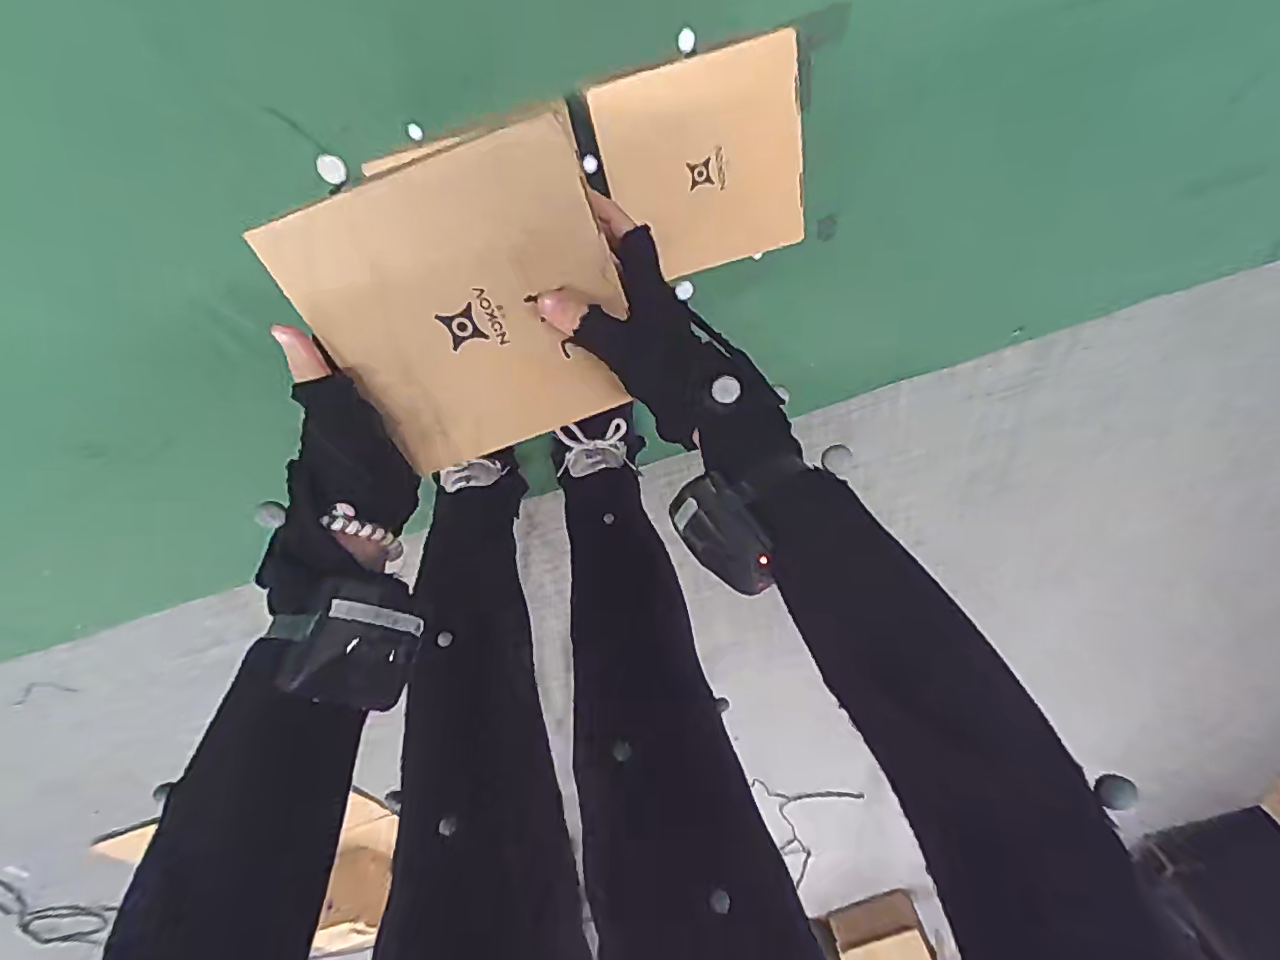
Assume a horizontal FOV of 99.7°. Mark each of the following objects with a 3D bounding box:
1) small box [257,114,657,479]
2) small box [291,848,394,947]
[{"bbox_3d":[-0.102,-0.133,0.378,0.179,0.176,0.168,-19,126,3],"label":"small box"},{"bbox_3d":[-0.800,1.140,1.482,0.179,0.176,0.168,-21,129,6],"label":"small box"}]
